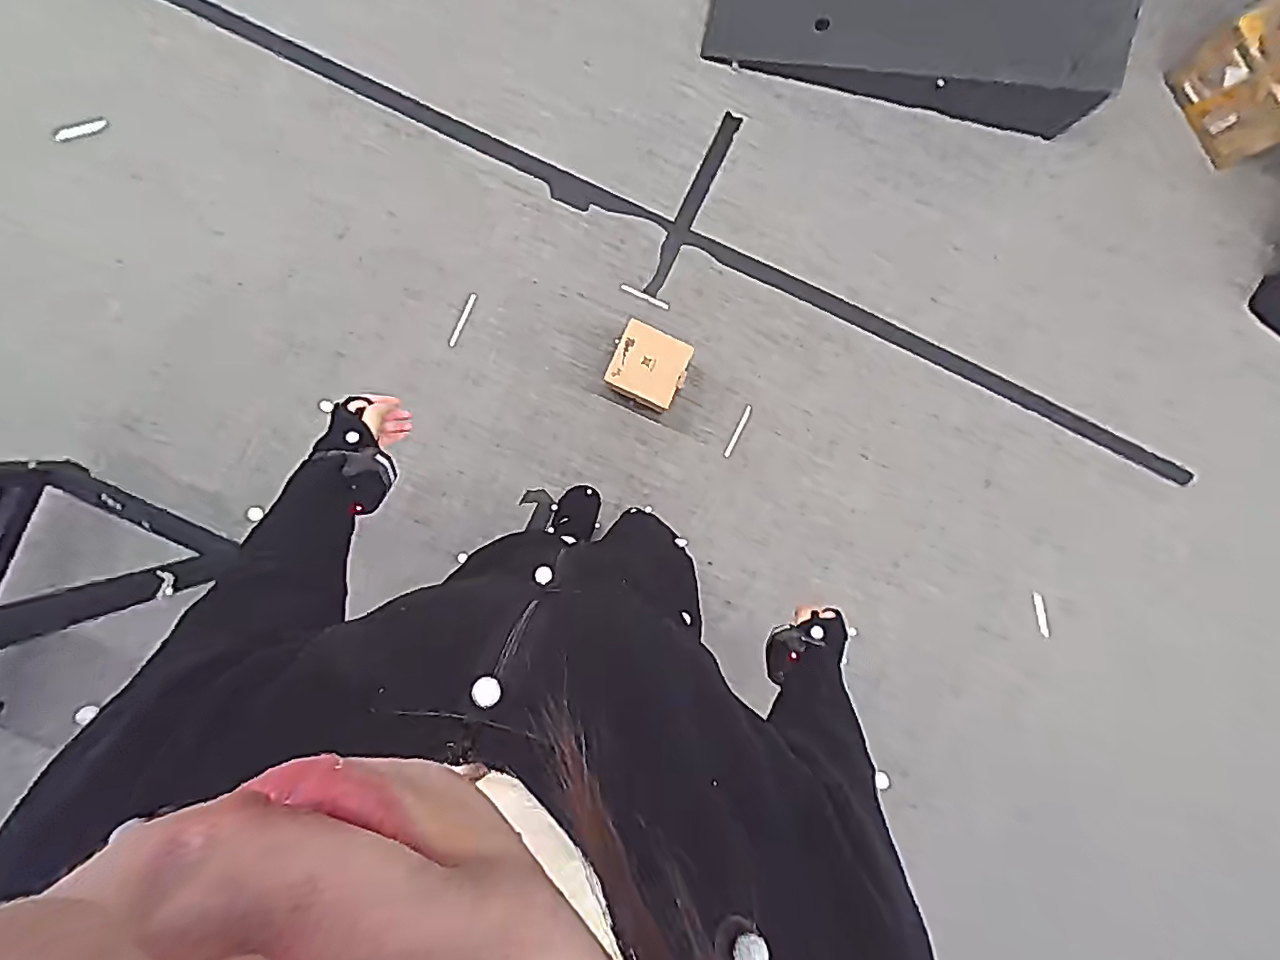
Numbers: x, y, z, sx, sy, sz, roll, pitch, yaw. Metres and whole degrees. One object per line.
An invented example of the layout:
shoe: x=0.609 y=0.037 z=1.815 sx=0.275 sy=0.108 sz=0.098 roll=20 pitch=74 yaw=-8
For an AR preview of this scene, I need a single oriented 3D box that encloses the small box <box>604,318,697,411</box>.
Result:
small box: x=0.022 y=-0.285 z=1.375 sx=0.179 sy=0.176 sz=0.168 roll=26 pitch=93 yaw=-4
